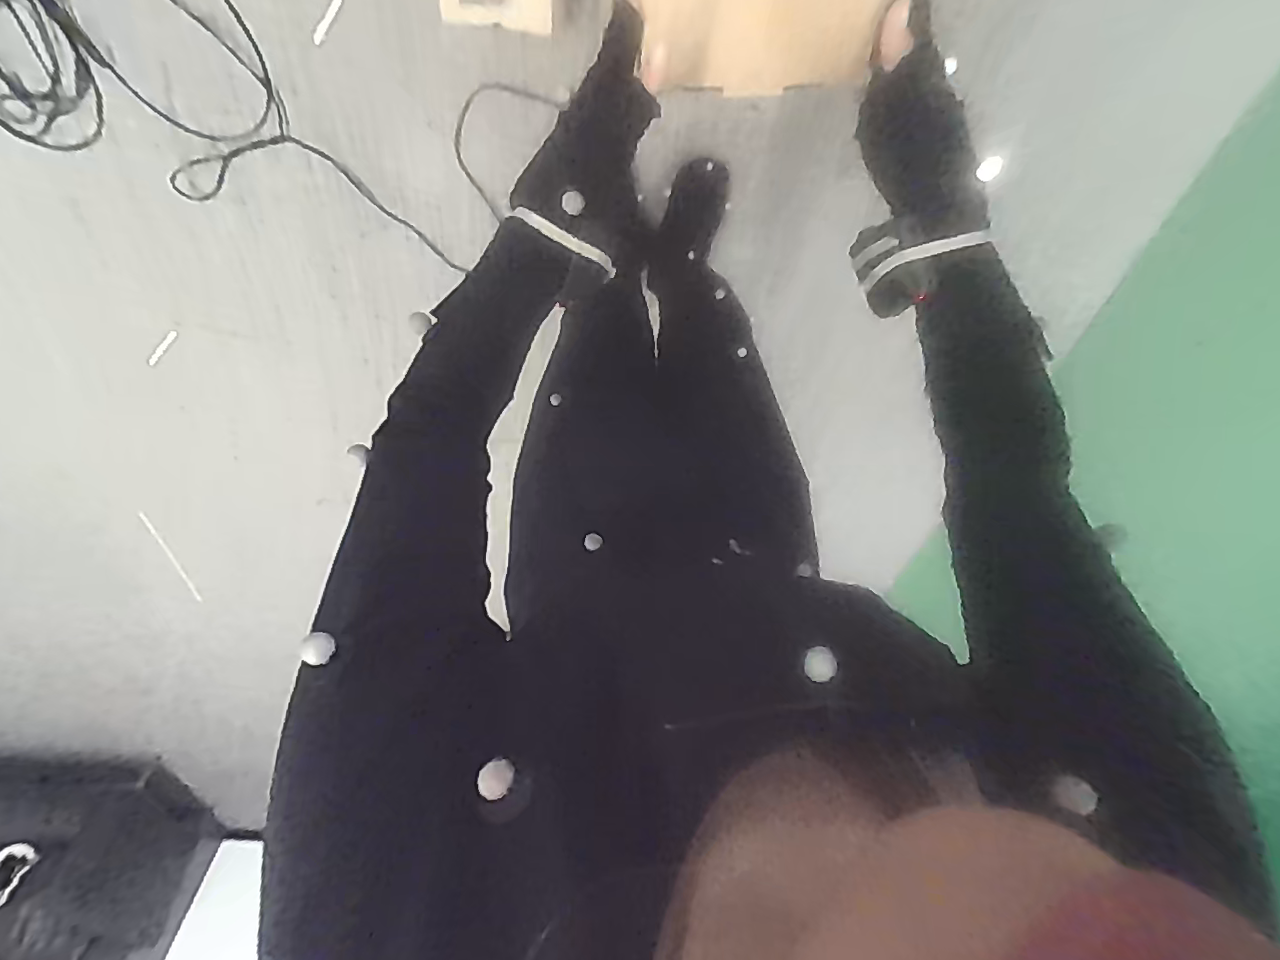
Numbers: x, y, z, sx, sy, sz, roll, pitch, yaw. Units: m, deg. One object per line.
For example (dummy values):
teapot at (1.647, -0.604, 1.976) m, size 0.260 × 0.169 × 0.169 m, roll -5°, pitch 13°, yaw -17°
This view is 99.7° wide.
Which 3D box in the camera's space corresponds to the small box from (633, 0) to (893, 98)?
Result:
small box at (0.080, -0.392, 0.387) m, size 0.168 × 0.176 × 0.179 m, roll -2°, pitch 134°, yaw -2°

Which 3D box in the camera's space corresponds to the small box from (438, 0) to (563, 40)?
small box at (-0.204, -0.782, 0.806) m, size 0.168 × 0.176 × 0.179 m, roll 4°, pitch 131°, yaw -4°
